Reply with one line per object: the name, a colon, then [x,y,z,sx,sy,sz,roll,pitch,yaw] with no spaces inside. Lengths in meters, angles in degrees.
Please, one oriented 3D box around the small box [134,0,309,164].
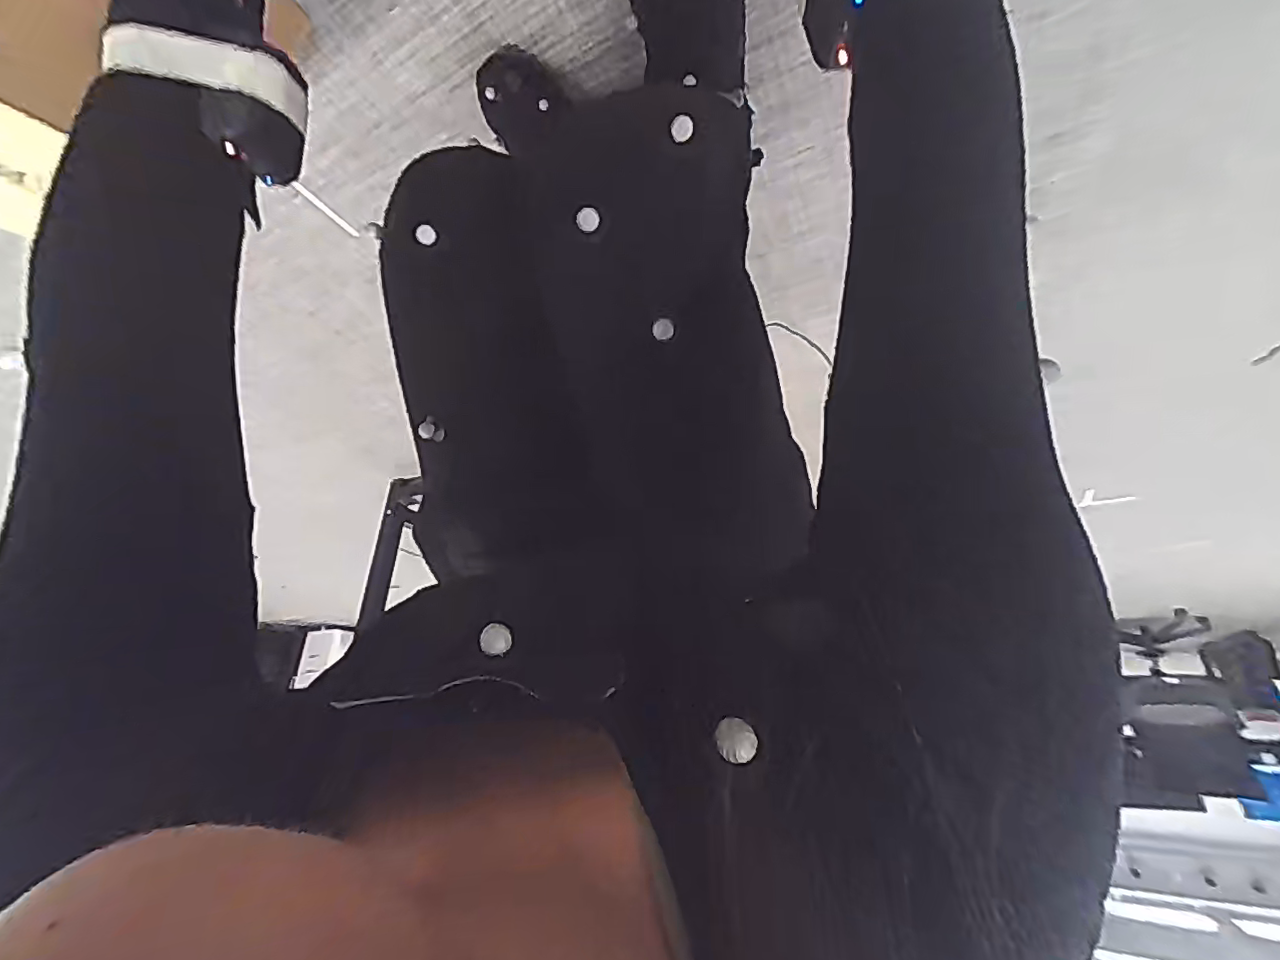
small box: [-0.488,-0.474,0.561,0.168,0.176,0.179,-11,152,28]
